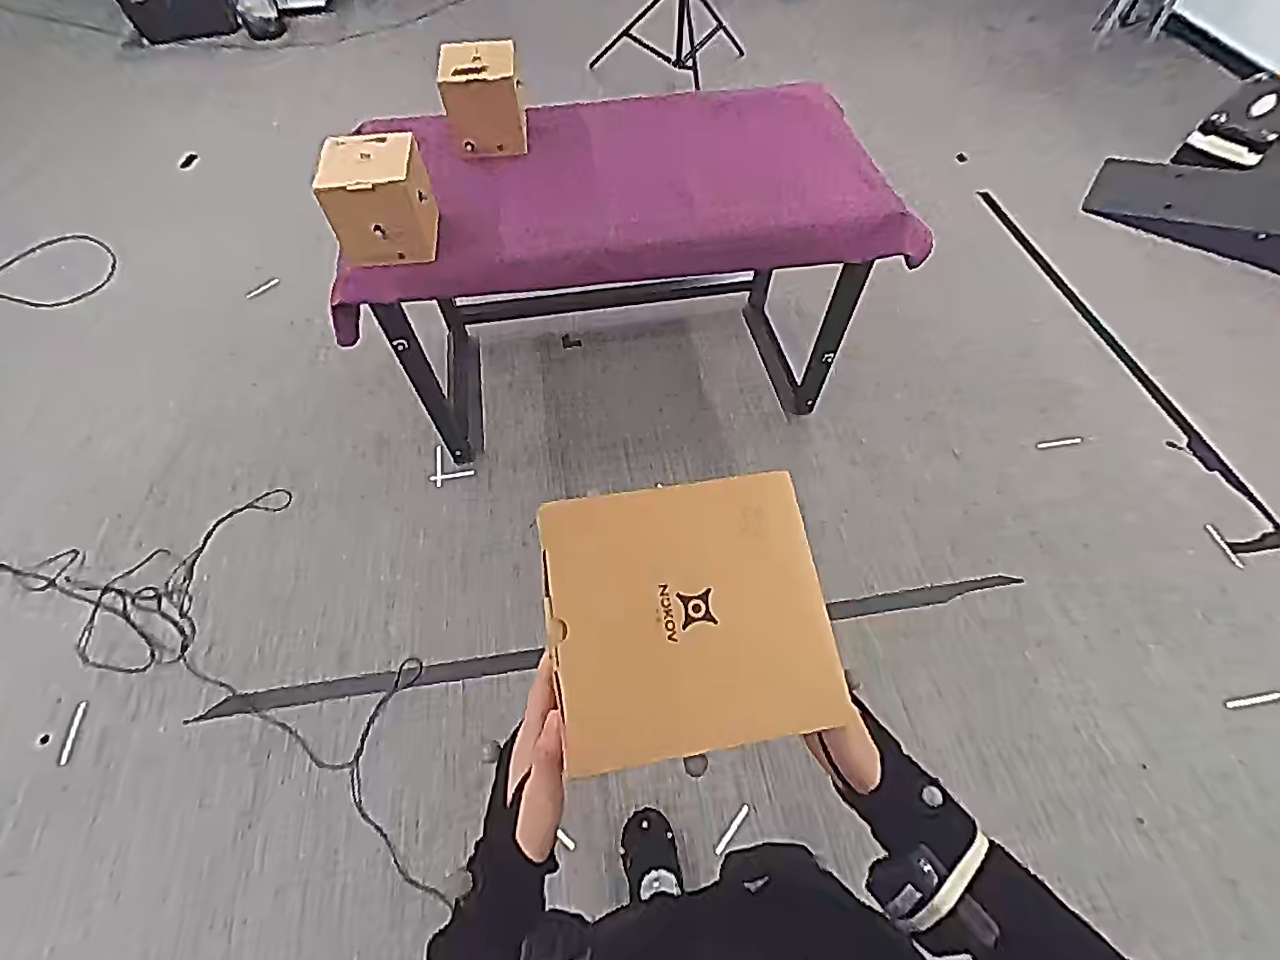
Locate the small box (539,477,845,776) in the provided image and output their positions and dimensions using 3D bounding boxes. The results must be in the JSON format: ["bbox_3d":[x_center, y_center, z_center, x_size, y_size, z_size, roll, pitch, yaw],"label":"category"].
[{"bbox_3d":[0.025,0.108,0.420,0.179,0.176,0.168,-8,72,-5],"label":"small box"}]

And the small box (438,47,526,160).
[{"bbox_3d":[-0.367,-0.884,1.283,0.168,0.176,0.179,-6,60,-4],"label":"small box"}]

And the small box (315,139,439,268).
[{"bbox_3d":[-0.512,-0.542,1.078,0.168,0.176,0.179,-7,59,-5],"label":"small box"}]
